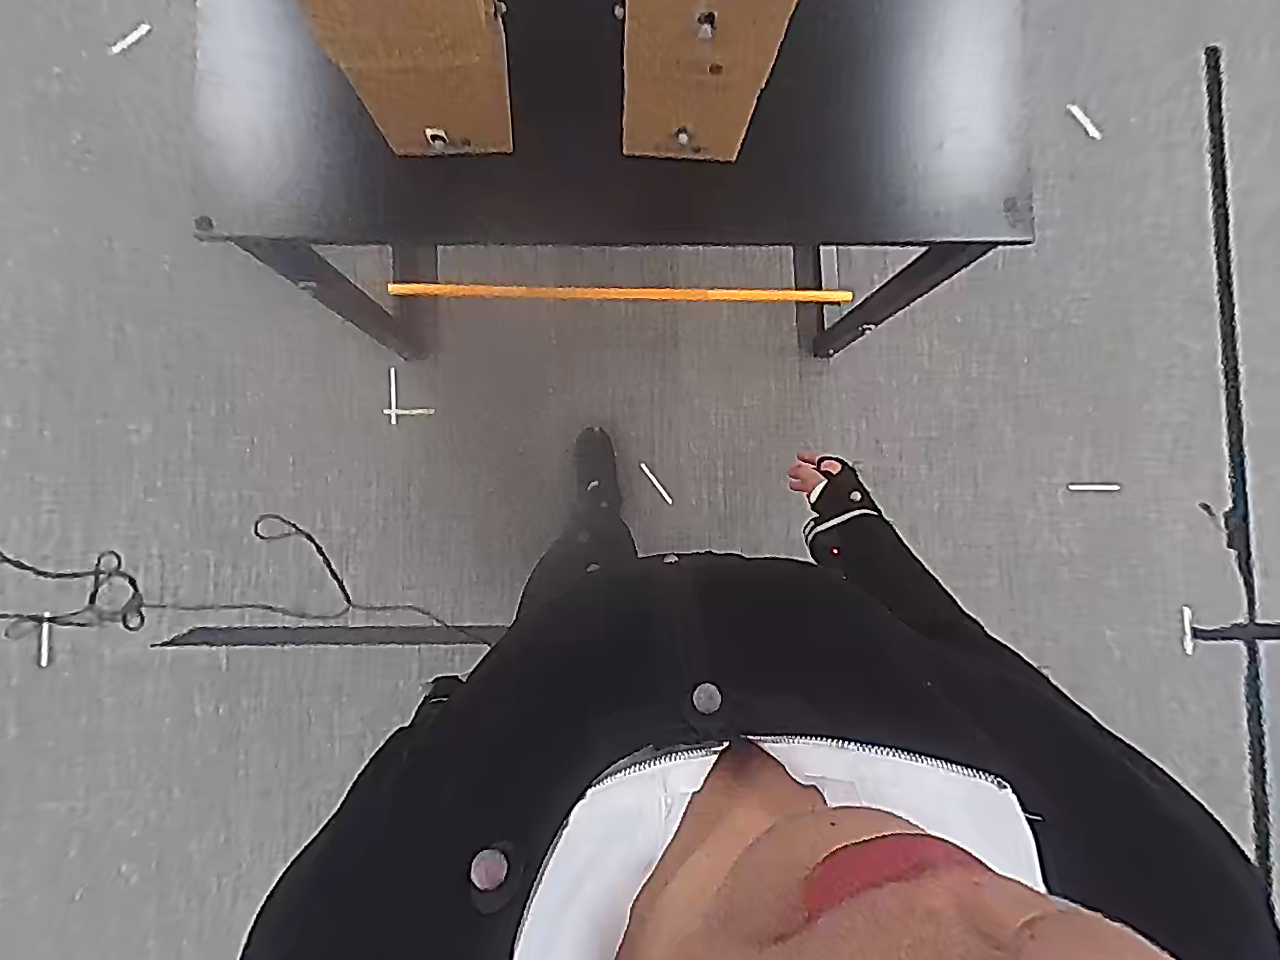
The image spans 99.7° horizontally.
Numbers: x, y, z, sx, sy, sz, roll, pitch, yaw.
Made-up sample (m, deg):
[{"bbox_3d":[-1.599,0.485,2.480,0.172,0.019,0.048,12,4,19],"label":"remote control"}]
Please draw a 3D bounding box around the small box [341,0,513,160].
[{"bbox_3d":[-0.264,-0.548,0.692,0.168,0.176,0.179,-5,89,-2],"label":"small box"}]

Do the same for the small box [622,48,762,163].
[{"bbox_3d":[0.062,-0.557,0.709,0.168,0.176,0.179,2,87,-3],"label":"small box"}]

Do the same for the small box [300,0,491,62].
[{"bbox_3d":[-0.257,-0.551,0.527,0.179,0.176,0.168,-6,88,-3],"label":"small box"}]

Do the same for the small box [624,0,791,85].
[{"bbox_3d":[0.072,-0.544,0.544,0.168,0.176,0.179,4,88,-3],"label":"small box"}]
